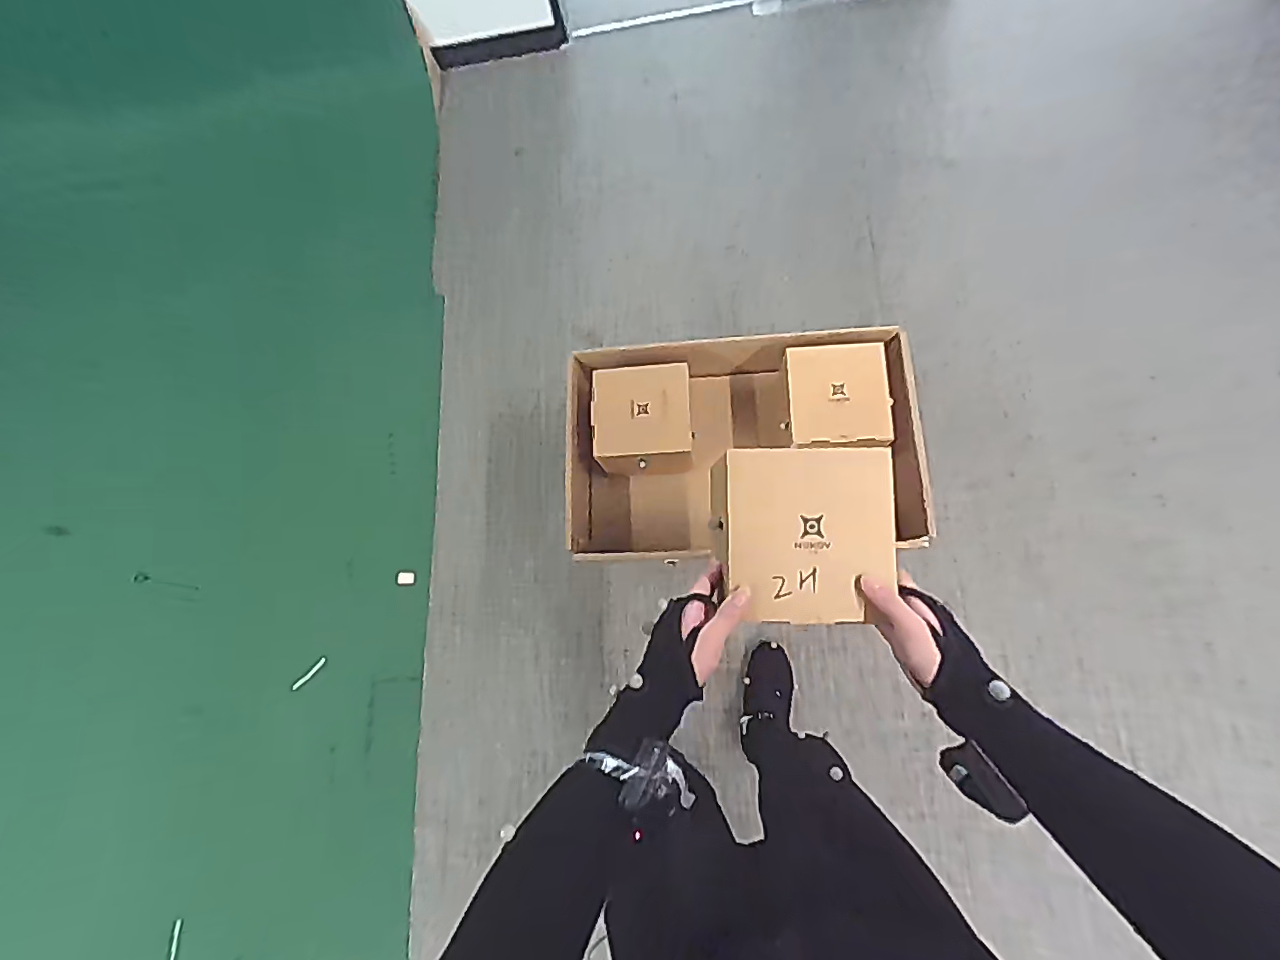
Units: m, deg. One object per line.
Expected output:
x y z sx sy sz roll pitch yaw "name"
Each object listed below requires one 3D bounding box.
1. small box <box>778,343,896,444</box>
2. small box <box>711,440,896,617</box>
0.350 -0.133 0.990 0.168 0.176 0.179 -1 78 7 "small box"
0.171 0.054 0.615 0.168 0.176 0.179 0 86 2 "small box"
